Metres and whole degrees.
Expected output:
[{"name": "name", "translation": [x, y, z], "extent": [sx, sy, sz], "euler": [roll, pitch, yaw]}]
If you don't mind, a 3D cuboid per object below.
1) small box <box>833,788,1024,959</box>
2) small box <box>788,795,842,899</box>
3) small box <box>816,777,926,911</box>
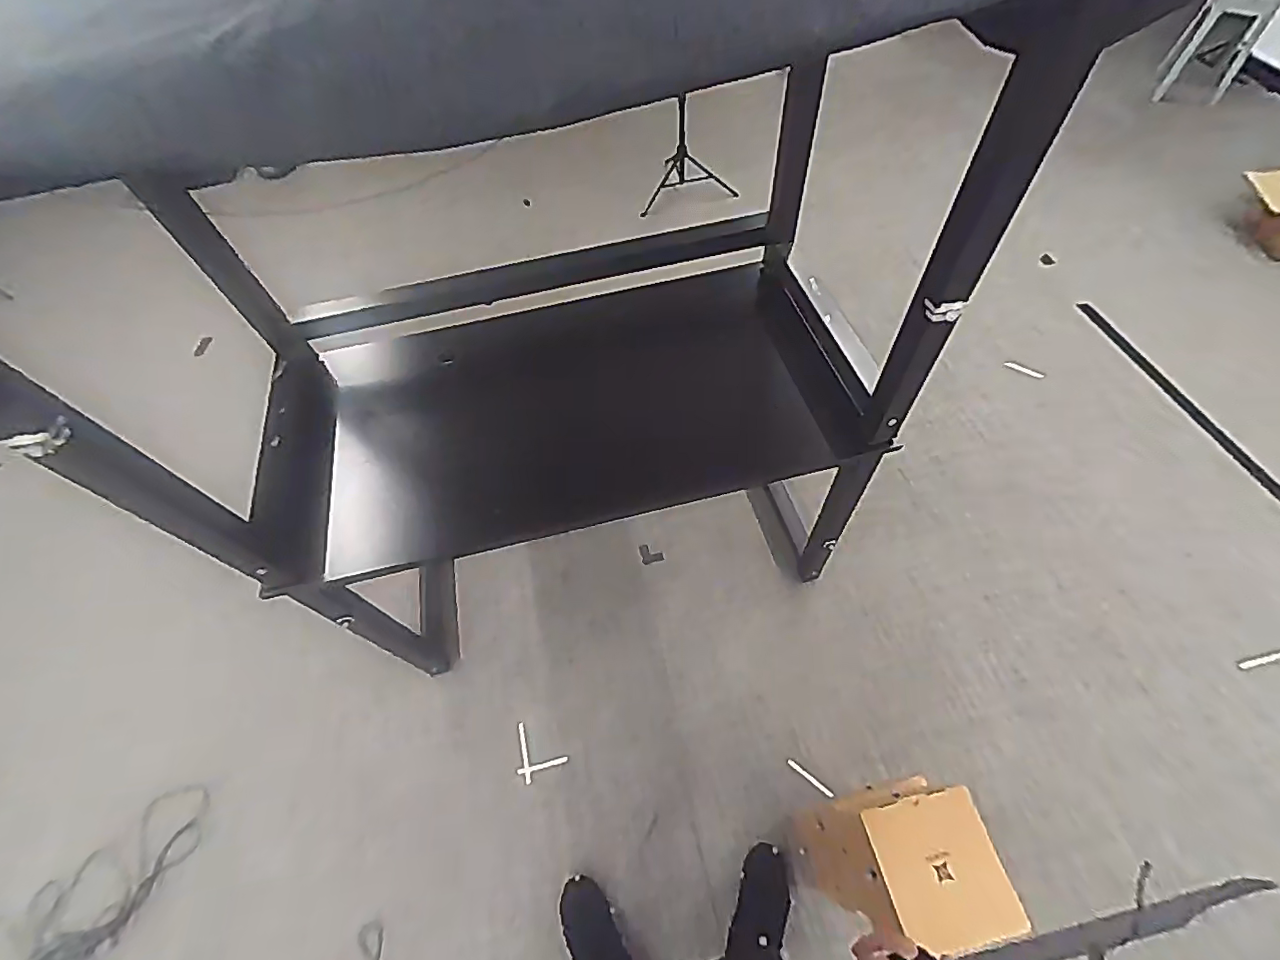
[{"name": "small box", "translation": [0.415, 0.581, 0.814], "extent": [0.168, 0.176, 0.179], "euler": [-13, 58, -3]}, {"name": "small box", "translation": [0.459, 0.826, 1.238], "extent": [0.179, 0.176, 0.168], "euler": [-14, 58, -4]}, {"name": "small box", "translation": [0.430, 0.647, 0.963], "extent": [0.179, 0.176, 0.168], "euler": [-14, 59, -5]}]
